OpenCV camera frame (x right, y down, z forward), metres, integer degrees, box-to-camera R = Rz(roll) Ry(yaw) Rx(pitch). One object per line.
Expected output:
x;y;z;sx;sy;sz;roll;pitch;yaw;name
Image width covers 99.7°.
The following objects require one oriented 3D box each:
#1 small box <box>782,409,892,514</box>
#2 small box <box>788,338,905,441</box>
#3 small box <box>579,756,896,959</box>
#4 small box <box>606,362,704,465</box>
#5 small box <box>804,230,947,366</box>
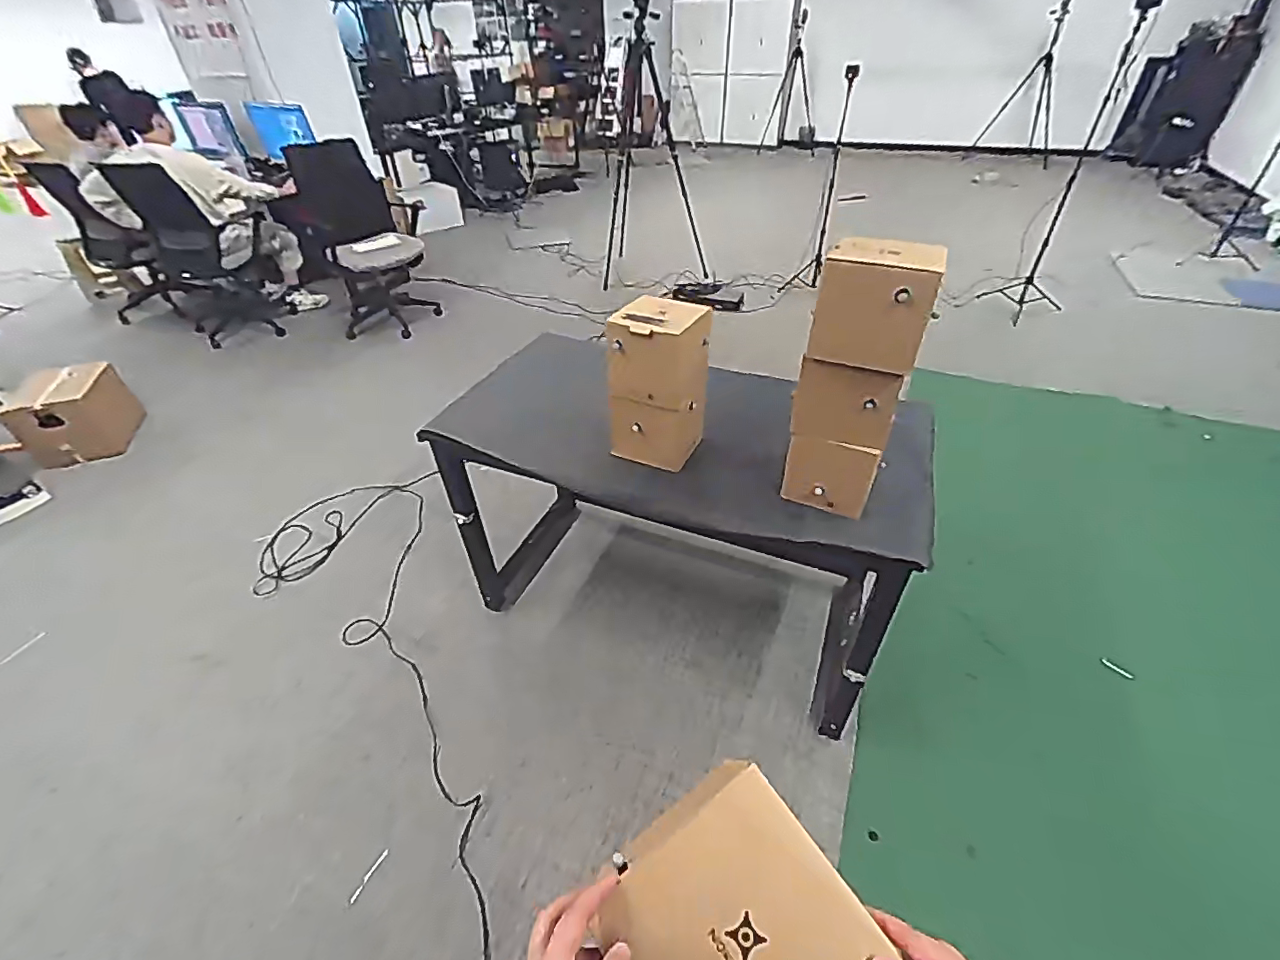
0.406;-0.060;1.128;0.168;0.176;0.179;18;42;24;small box
0.393;-0.191;1.033;0.179;0.176;0.168;12;38;19;small box
0.070;0.363;0.466;0.179;0.176;0.168;-36;68;-13;small box
0.038;-0.156;1.266;0.179;0.176;0.168;16;42;21;small box
0.393;-0.307;0.913;0.179;0.176;0.168;16;39;22;small box
